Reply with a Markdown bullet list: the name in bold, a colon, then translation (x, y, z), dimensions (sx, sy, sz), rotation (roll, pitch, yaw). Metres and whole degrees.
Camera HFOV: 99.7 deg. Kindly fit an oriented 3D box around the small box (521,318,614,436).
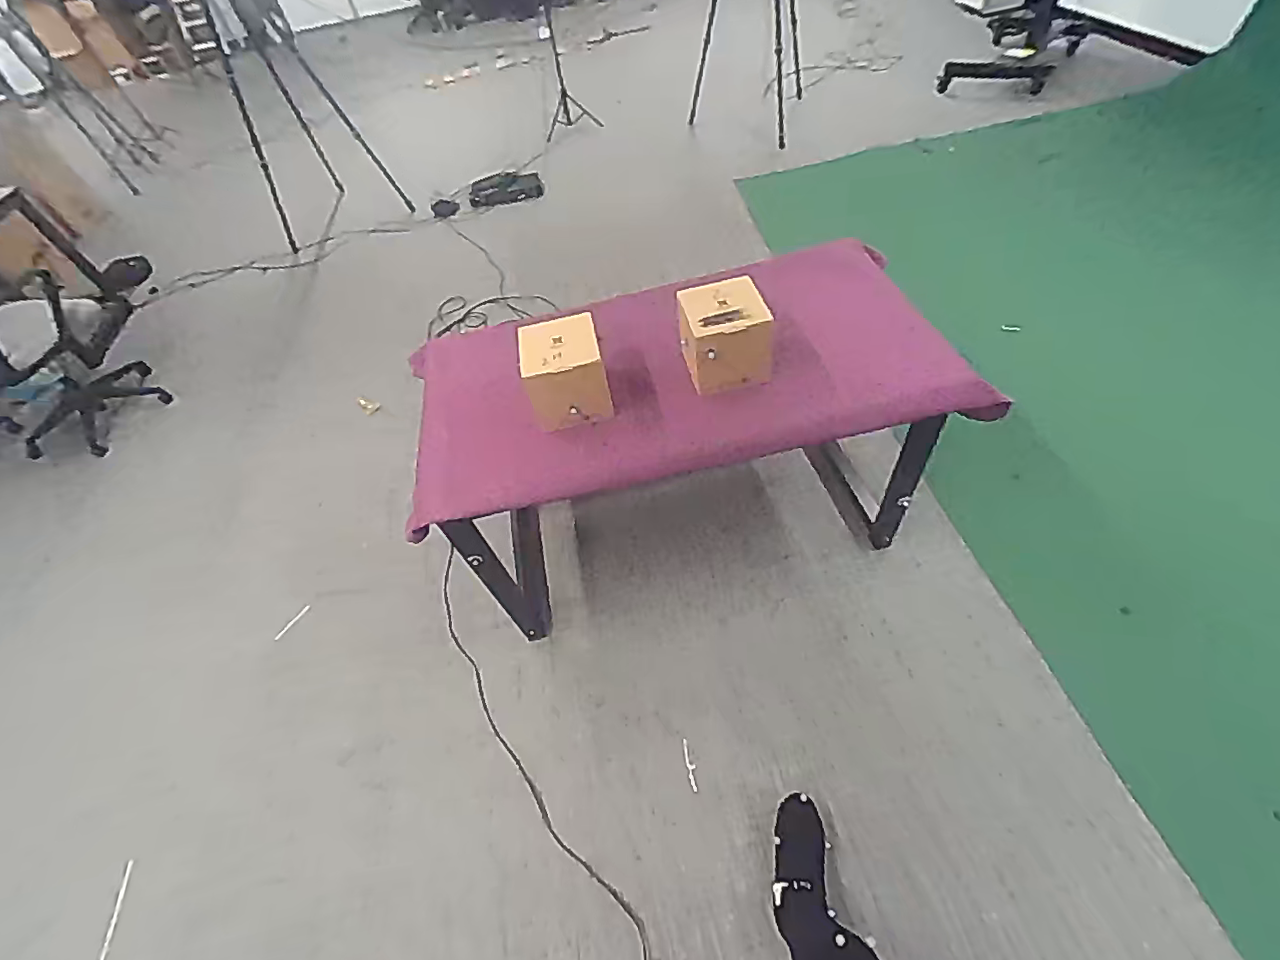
- **small box**: translation (-0.159, -0.225, 1.193), dimensions (0.168, 0.176, 0.179), rotation (-13, 51, 0)
